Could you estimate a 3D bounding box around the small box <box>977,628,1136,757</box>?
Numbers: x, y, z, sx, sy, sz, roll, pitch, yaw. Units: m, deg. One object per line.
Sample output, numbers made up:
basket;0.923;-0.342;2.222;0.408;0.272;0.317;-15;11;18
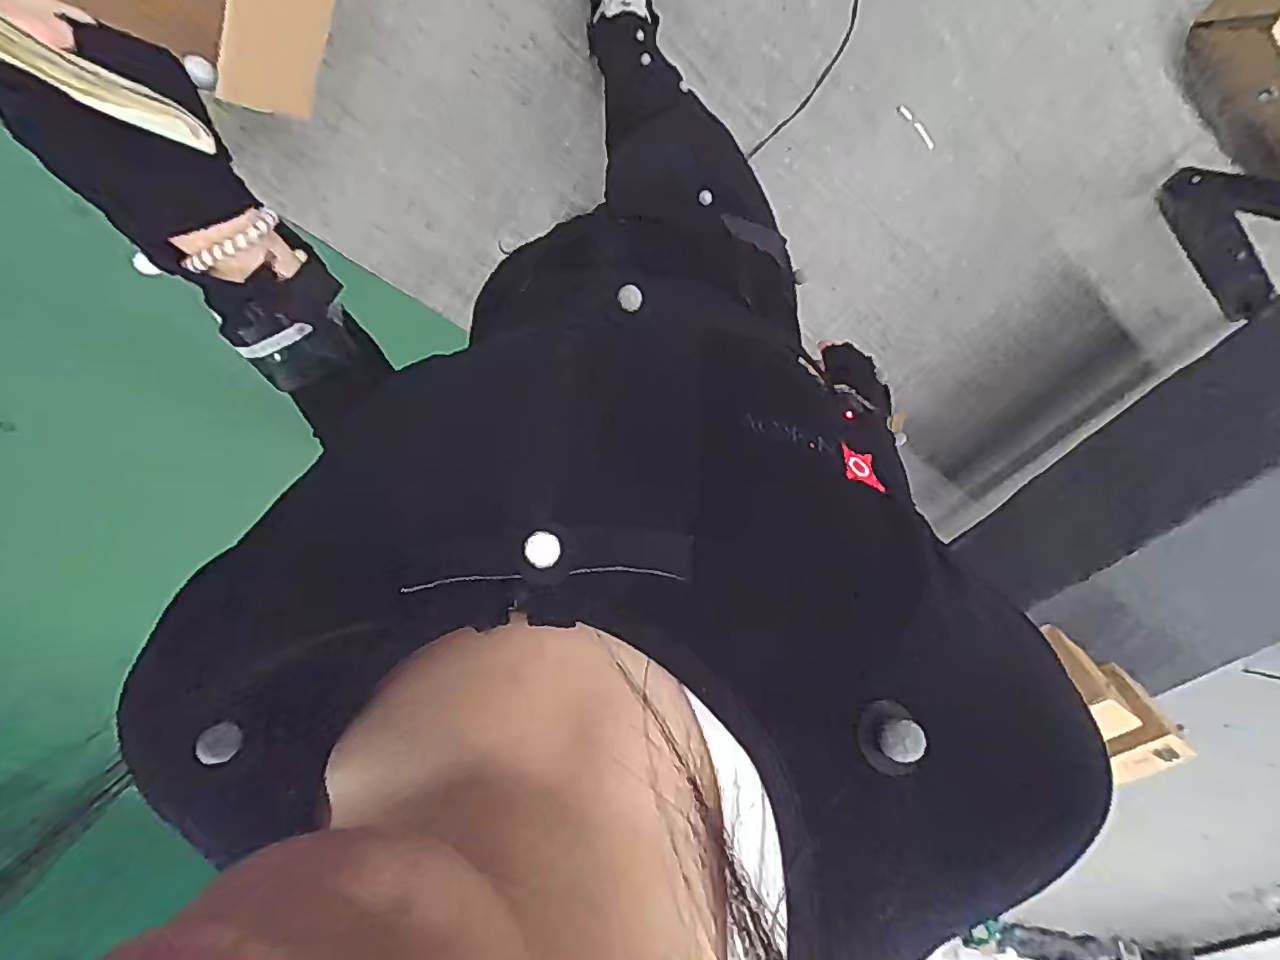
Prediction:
small box;0.848;0.434;1.114;0.179;0.176;0.168;33;117;-26
